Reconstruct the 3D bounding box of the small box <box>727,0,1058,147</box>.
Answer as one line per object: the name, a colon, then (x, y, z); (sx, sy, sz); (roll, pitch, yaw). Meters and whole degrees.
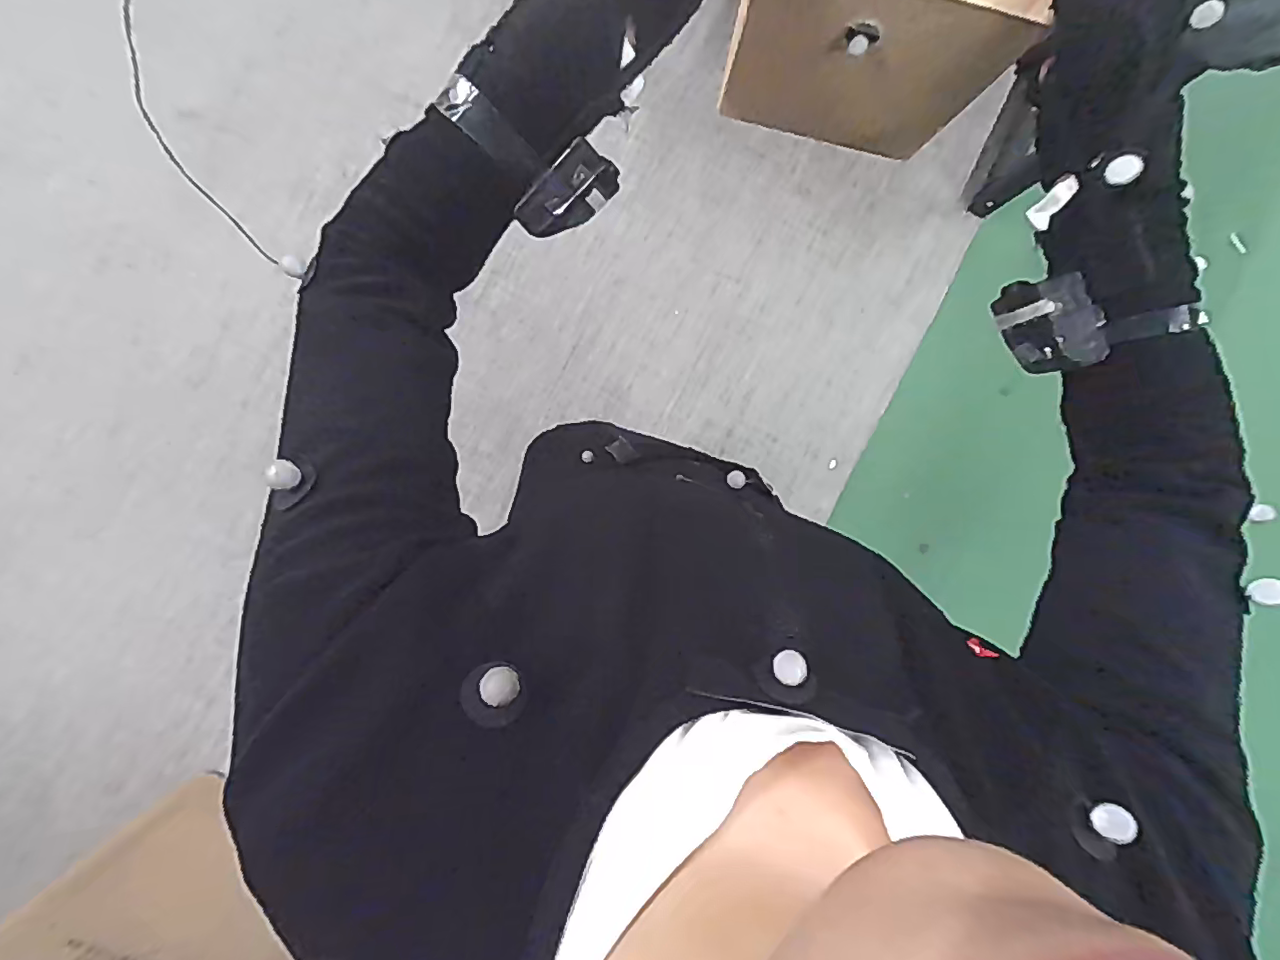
small box: (0.173, -0.375, 0.386); (0.179, 0.176, 0.168); (12, 96, -4)
